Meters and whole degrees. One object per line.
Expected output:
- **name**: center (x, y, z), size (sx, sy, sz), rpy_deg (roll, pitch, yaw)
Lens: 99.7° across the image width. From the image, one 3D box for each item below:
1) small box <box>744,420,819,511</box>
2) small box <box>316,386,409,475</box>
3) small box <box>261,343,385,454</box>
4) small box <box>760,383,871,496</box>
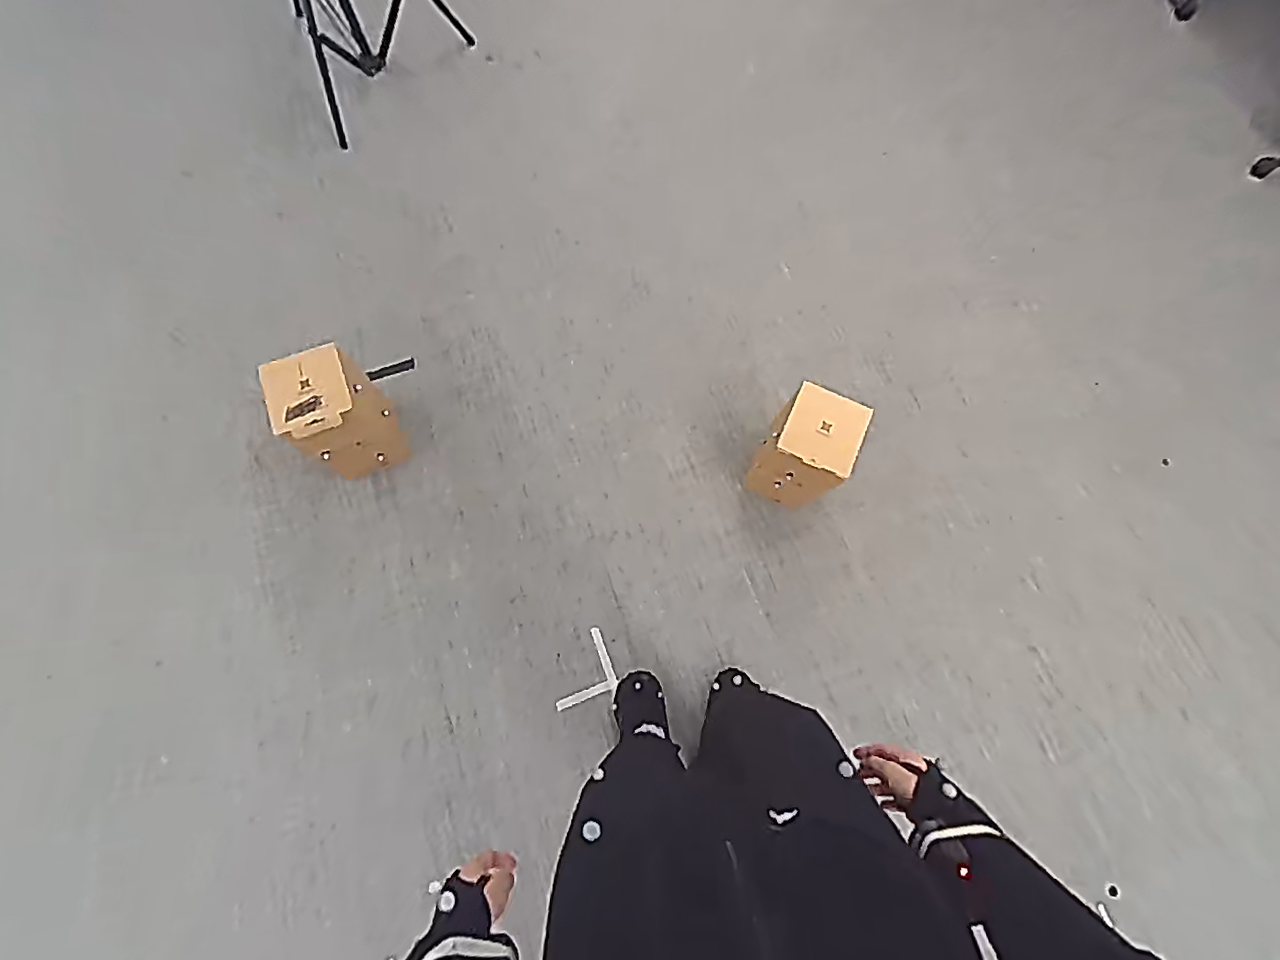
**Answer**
- **small box**: center (0.384, -0.042, 1.394), size (0.168, 0.176, 0.179), rpy_deg (25, 75, 4)
- **small box**: center (-0.716, -0.126, 1.377), size (0.168, 0.176, 0.179), rpy_deg (-22, 75, -9)
- **small box**: center (-0.704, -0.172, 1.219), size (0.168, 0.176, 0.179), rpy_deg (-21, 76, -8)
- **small box**: center (0.392, -0.086, 1.237), size (0.168, 0.176, 0.179), rpy_deg (25, 76, 4)
